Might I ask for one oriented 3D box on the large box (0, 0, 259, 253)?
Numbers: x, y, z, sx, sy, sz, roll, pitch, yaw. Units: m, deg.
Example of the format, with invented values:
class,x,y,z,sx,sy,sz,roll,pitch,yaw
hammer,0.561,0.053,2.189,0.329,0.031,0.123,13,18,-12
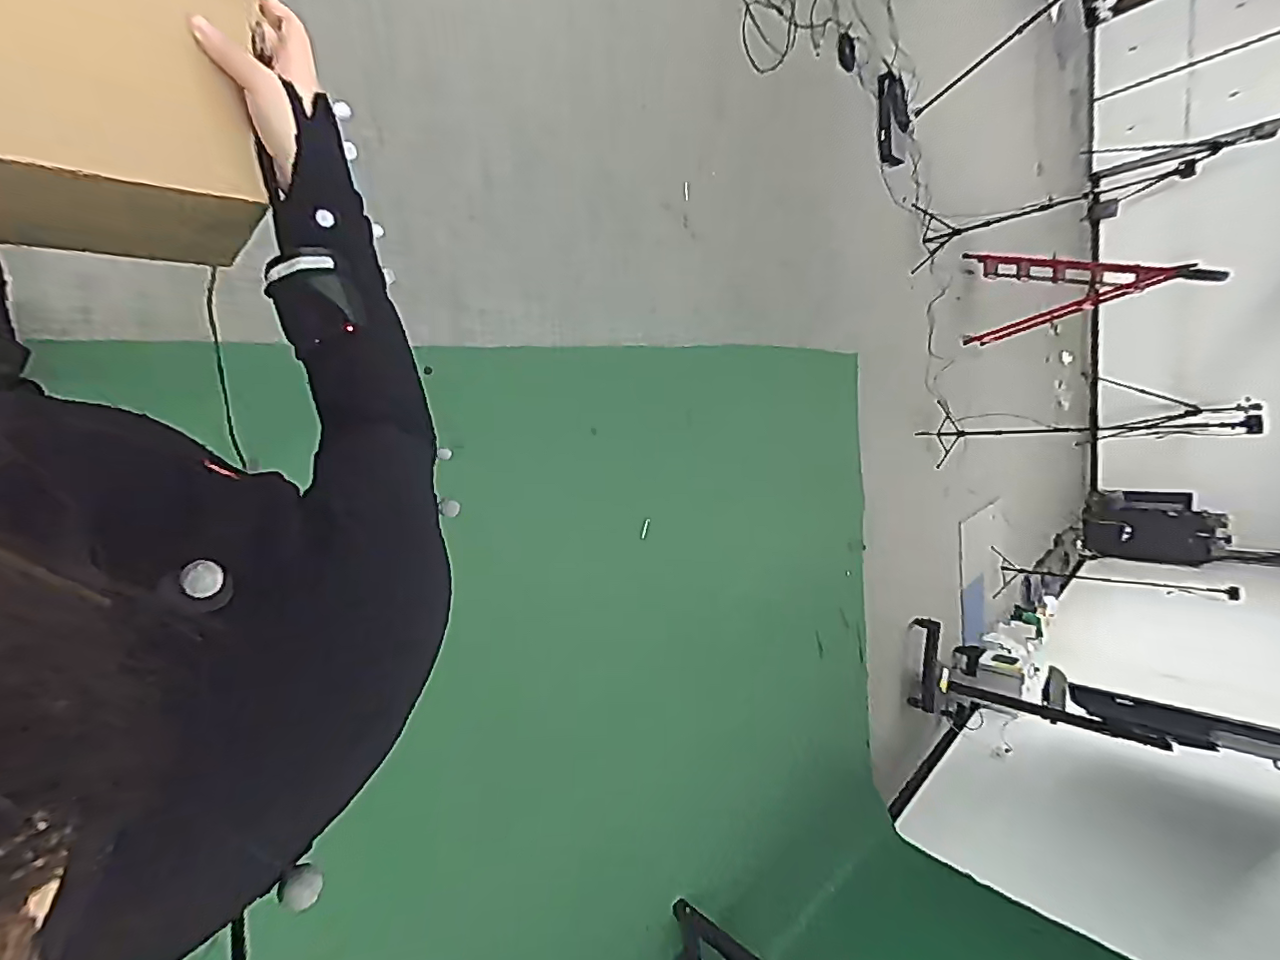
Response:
class,x,y,z,sx,sy,sz,roll,pitch,yaw
large box,-0.550,-0.366,0.386,0.408,0.320,0.320,-10,104,-39
